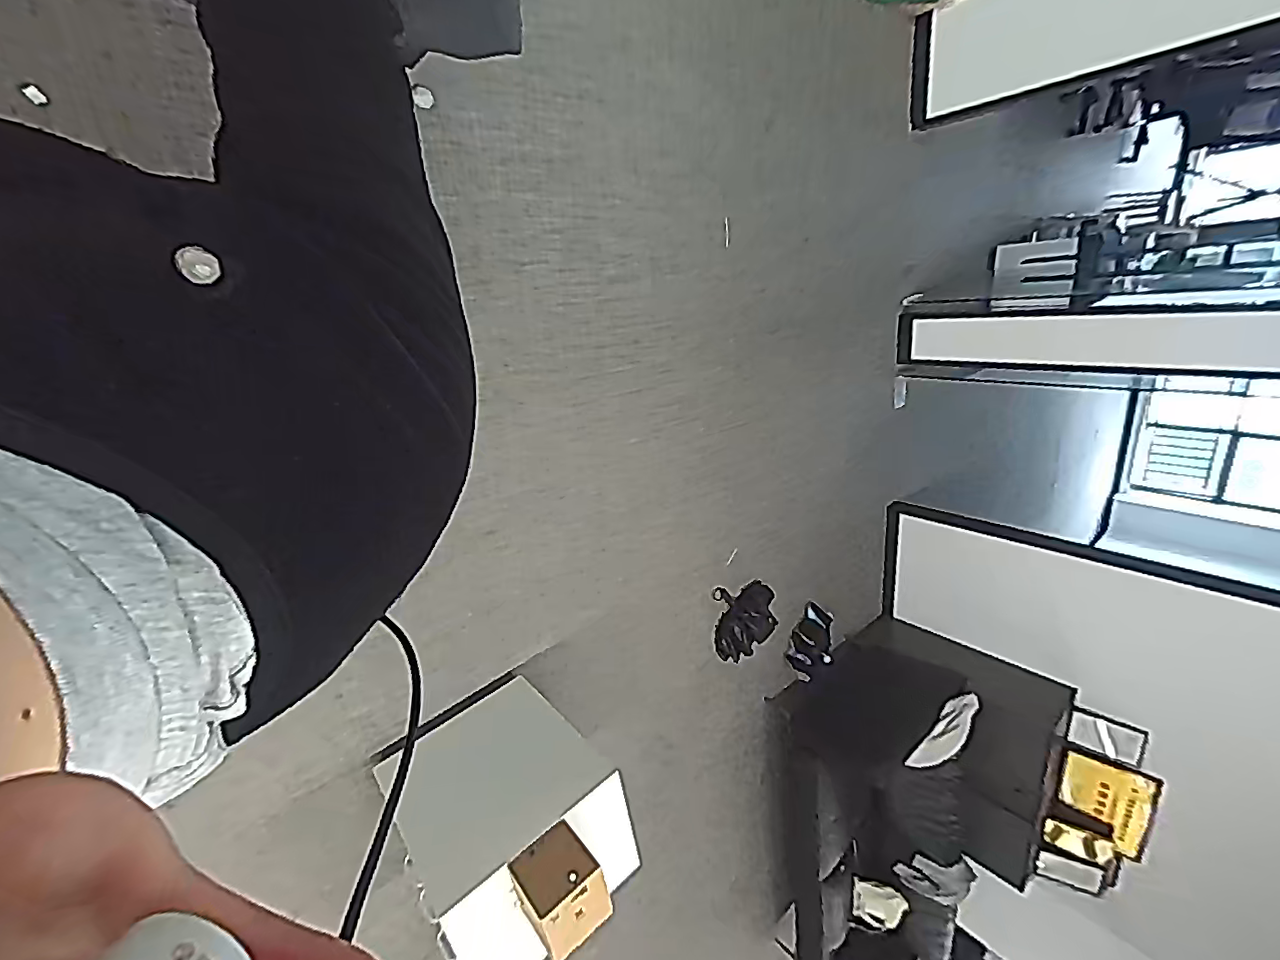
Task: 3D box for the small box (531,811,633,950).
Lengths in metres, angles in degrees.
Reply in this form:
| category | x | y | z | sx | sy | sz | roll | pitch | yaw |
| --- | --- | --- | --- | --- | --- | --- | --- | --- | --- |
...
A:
| category | x | y | z | sx | sy | sz | roll | pitch | yaw |
| --- | --- | --- | --- | --- | --- | --- | --- | --- | --- |
| small box | -0.141 | 0.955 | 1.306 | 0.168 | 0.176 | 0.179 | -27 | 119 | -33 |
